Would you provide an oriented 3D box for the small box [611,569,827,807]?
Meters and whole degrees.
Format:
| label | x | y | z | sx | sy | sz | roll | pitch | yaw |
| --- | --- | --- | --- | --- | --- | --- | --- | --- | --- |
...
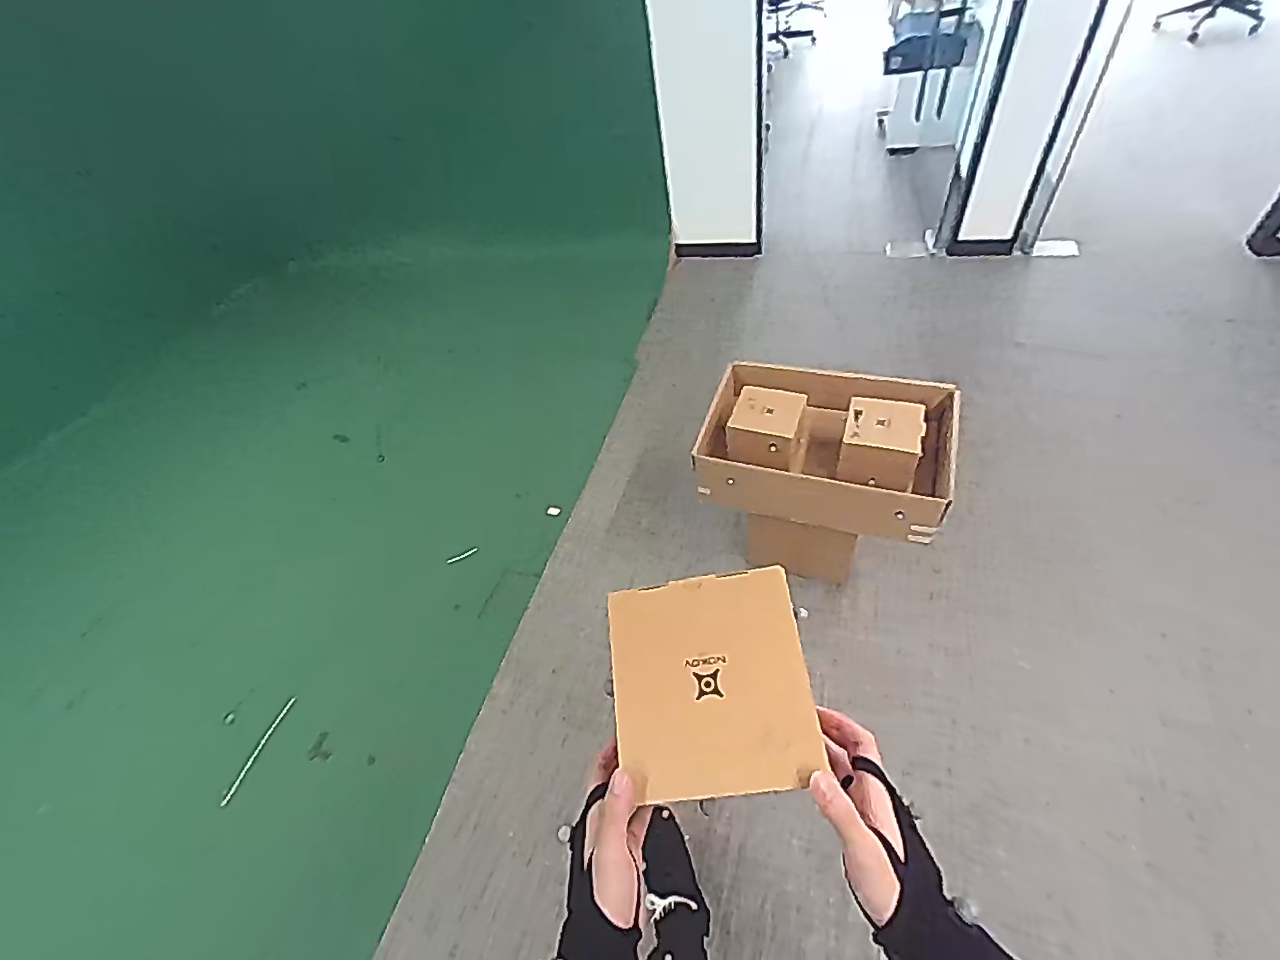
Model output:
| label | x | y | z | sx | sy | sz | roll | pitch | yaw |
| --- | --- | --- | --- | --- | --- | --- | --- | --- | --- |
| small box | 0.076 | 0.205 | 0.526 | 0.168 | 0.176 | 0.179 | -11 | 60 | 9 |
